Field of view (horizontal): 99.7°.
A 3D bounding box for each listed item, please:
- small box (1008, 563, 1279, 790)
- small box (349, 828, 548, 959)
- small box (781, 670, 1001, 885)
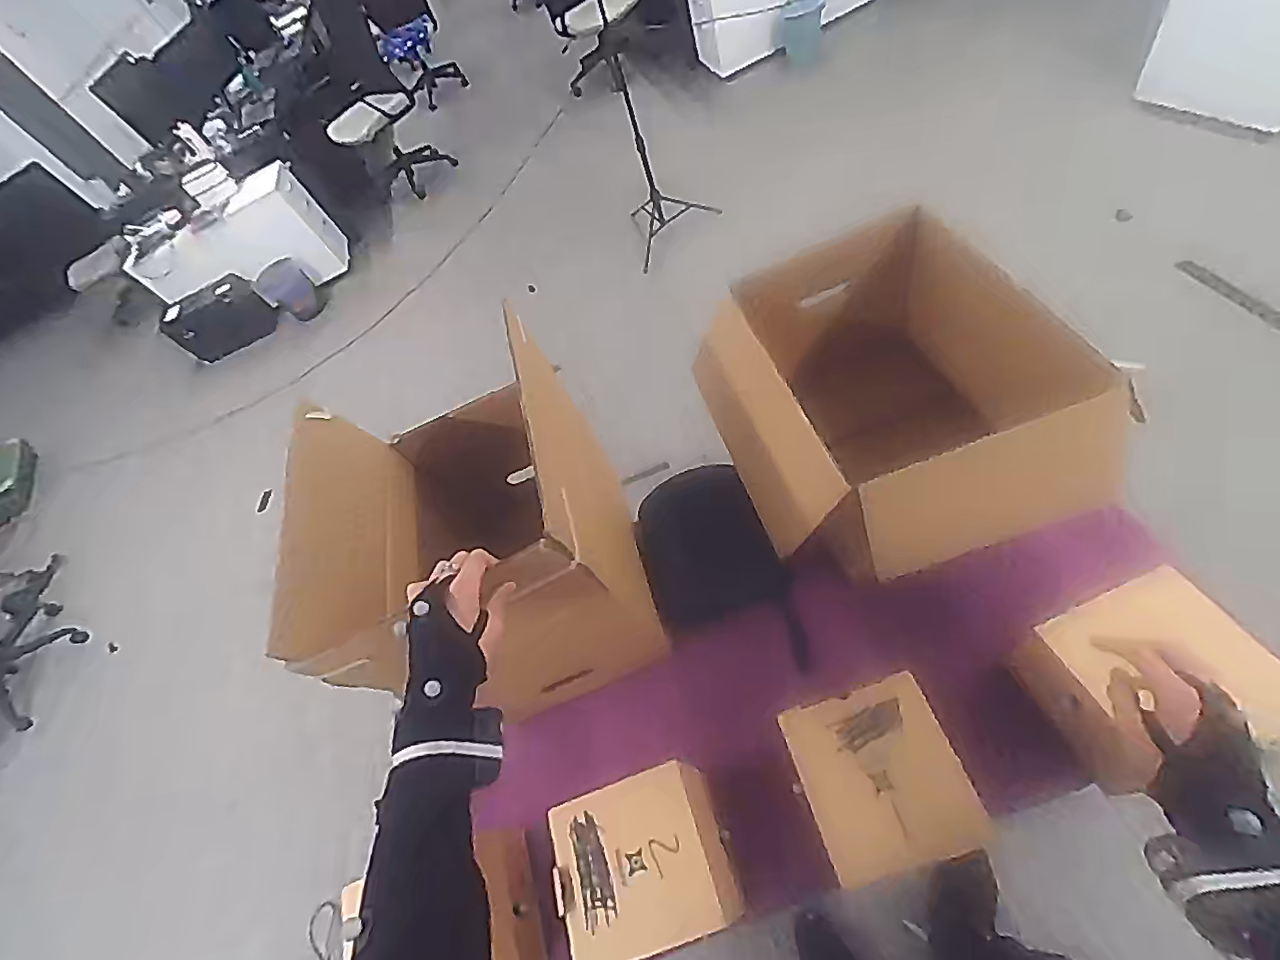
[{"bbox_3d":[0.569,0.231,0.621,0.168,0.176,0.179,-28,54,4],"label":"small box"},{"bbox_3d":[-0.248,0.584,0.709,0.179,0.176,0.168,-27,54,2],"label":"small box"},{"bbox_3d":[0.284,0.357,0.651,0.168,0.176,0.179,-22,55,7],"label":"small box"}]
